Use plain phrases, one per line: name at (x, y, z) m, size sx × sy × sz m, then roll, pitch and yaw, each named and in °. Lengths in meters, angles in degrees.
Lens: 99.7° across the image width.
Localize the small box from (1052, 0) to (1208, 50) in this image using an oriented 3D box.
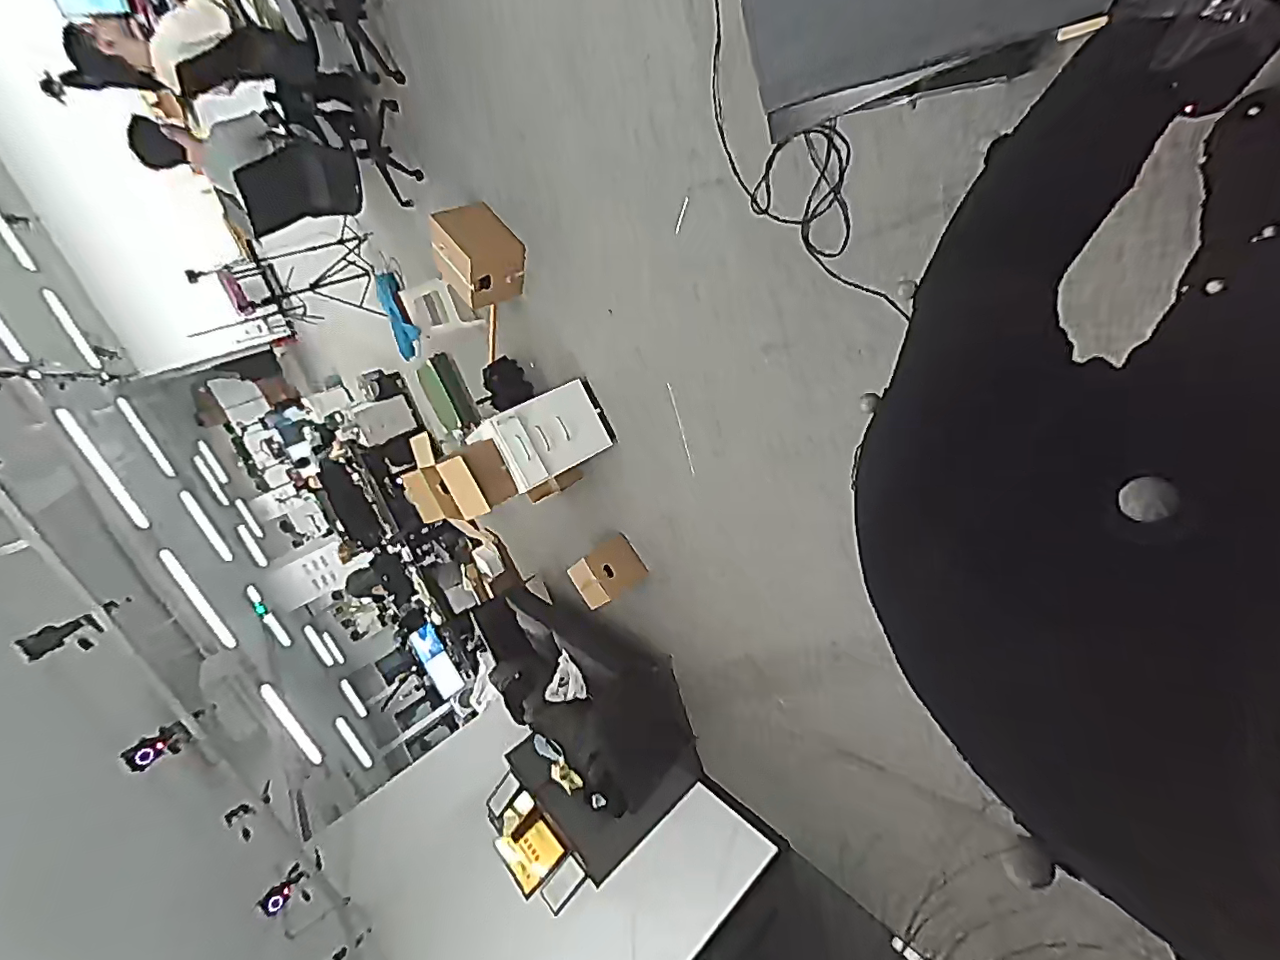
small box at (0.791, -0.821, 0.857) m, size 0.168 × 0.176 × 0.179 m, roll 19°, pitch 131°, yaw 49°
